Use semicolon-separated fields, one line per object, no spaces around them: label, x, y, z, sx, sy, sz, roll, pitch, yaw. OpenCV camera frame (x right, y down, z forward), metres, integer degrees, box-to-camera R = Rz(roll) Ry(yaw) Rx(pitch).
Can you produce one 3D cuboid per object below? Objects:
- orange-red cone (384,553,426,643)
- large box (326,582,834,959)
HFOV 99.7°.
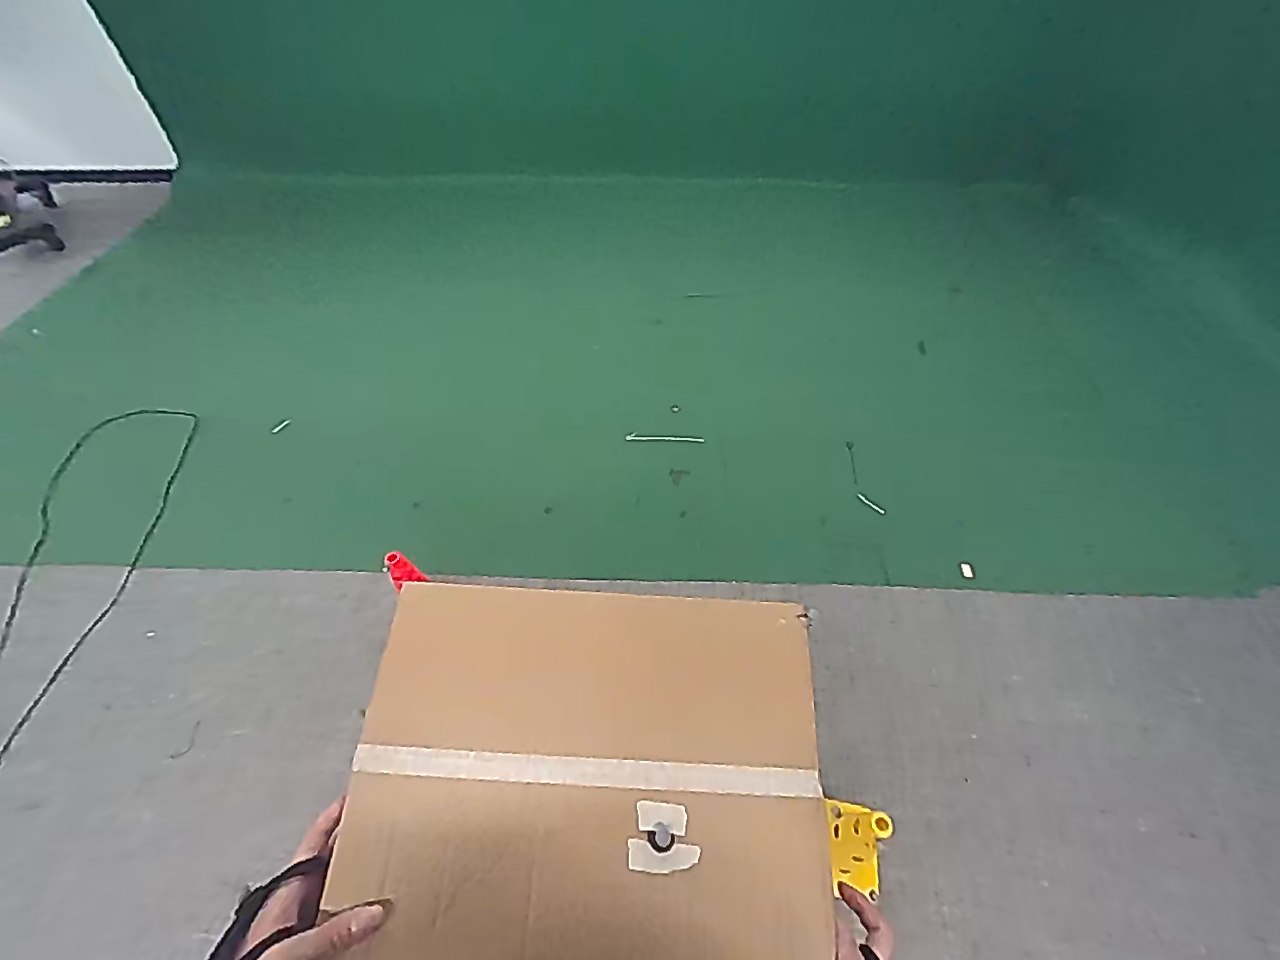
orange-red cone;-0.672;0.327;1.592;0.199;0.360;0.198;6;50;8
large box;-0.045;0.318;0.616;0.408;0.320;0.320;3;63;1
